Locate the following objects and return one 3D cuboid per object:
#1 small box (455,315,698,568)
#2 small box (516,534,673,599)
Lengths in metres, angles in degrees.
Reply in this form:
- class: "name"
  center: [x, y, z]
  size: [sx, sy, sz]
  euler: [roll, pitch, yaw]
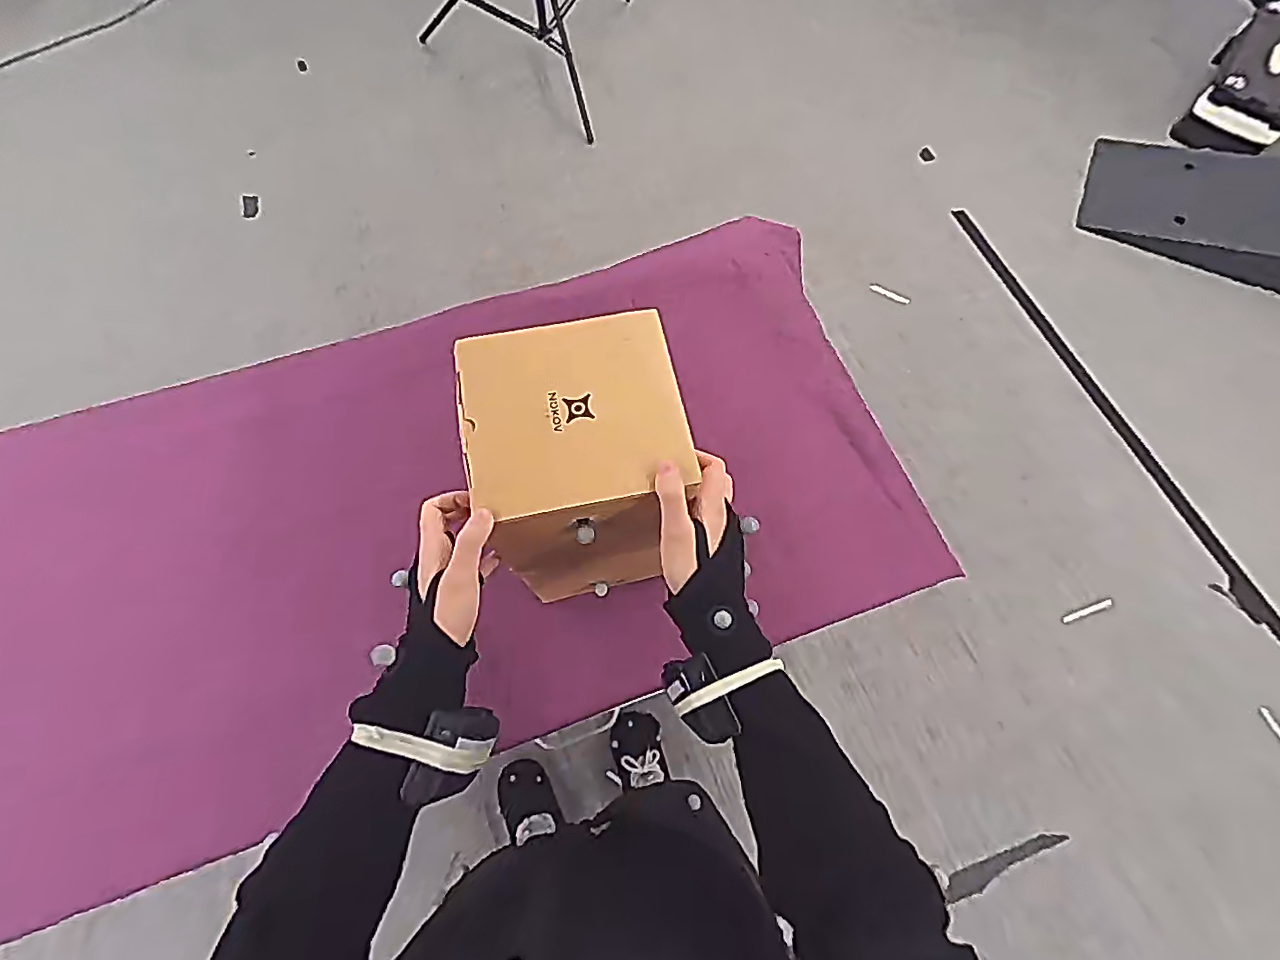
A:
- class: "small box"
  center: [-0.056, -0.025, 0.506]
  size: [0.179, 0.176, 0.168]
  euler: [-11, 70, -4]
- class: "small box"
  center: [-0.065, 0.032, 0.658]
  size: [0.168, 0.176, 0.179]
  euler: [-12, 70, -5]
